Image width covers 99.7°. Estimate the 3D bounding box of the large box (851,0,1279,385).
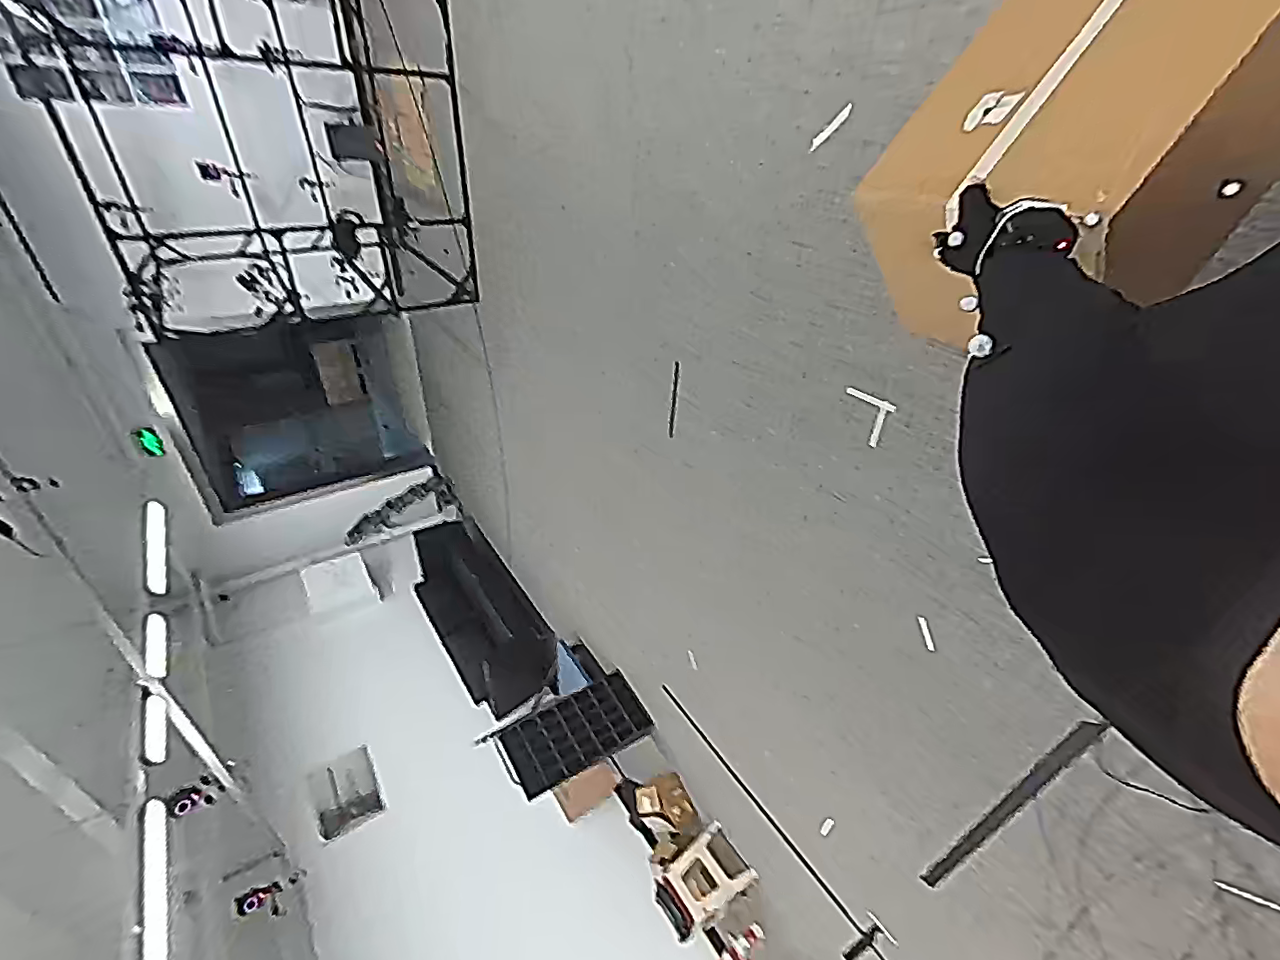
[{"bbox_3d":[0.582,-0.414,0.754,0.408,0.320,0.320,-53,44,3],"label":"large box"}]
